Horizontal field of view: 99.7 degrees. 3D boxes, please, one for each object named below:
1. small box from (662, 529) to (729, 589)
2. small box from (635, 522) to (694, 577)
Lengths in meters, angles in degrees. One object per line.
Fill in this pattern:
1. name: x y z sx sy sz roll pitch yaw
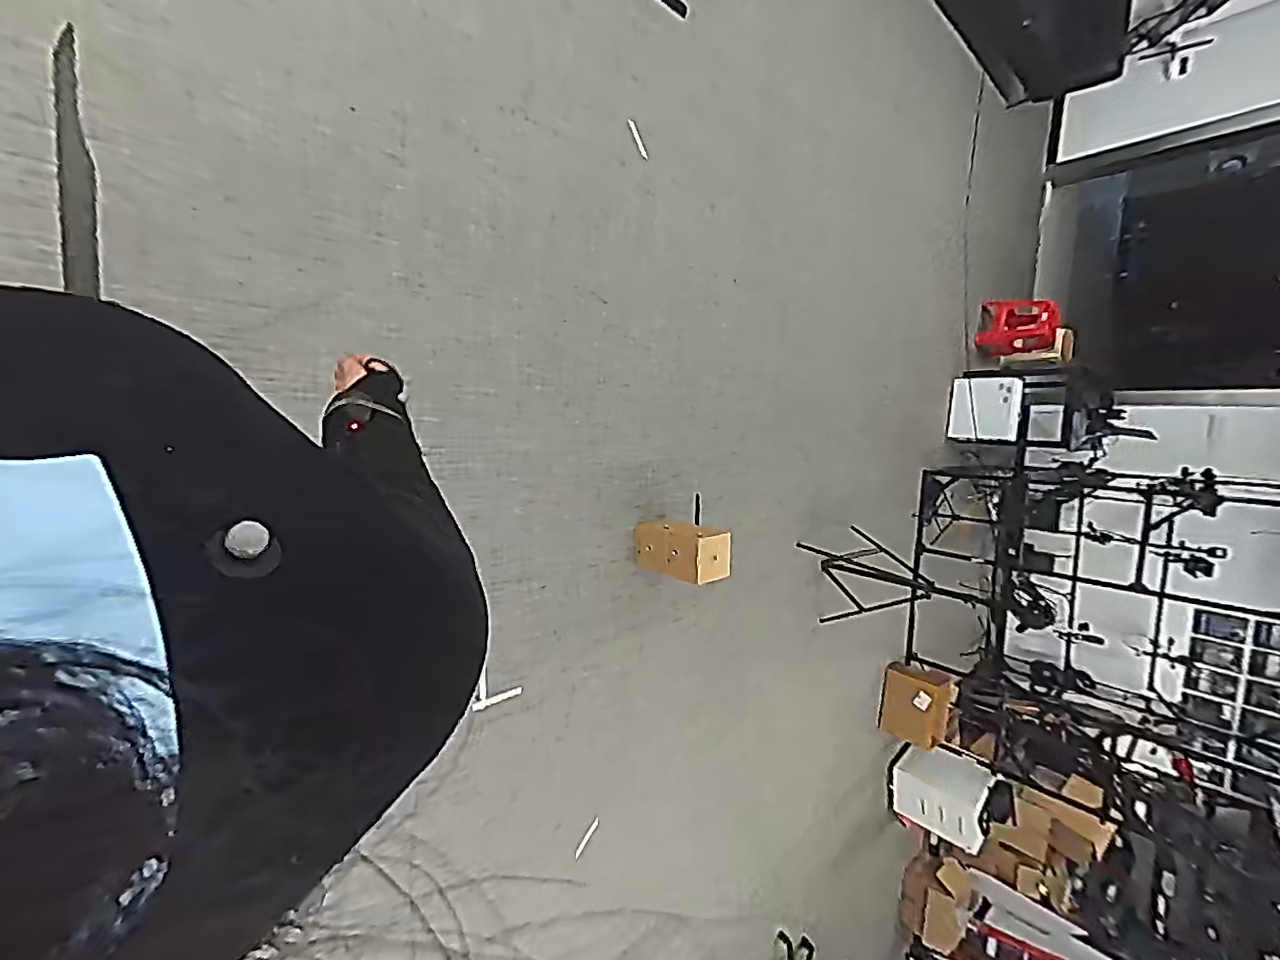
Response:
1. small box: 0.203 0.281 1.971 0.179 0.176 0.168 -6 100 -41
2. small box: 0.093 0.265 2.090 0.179 0.176 0.168 -8 102 -42
